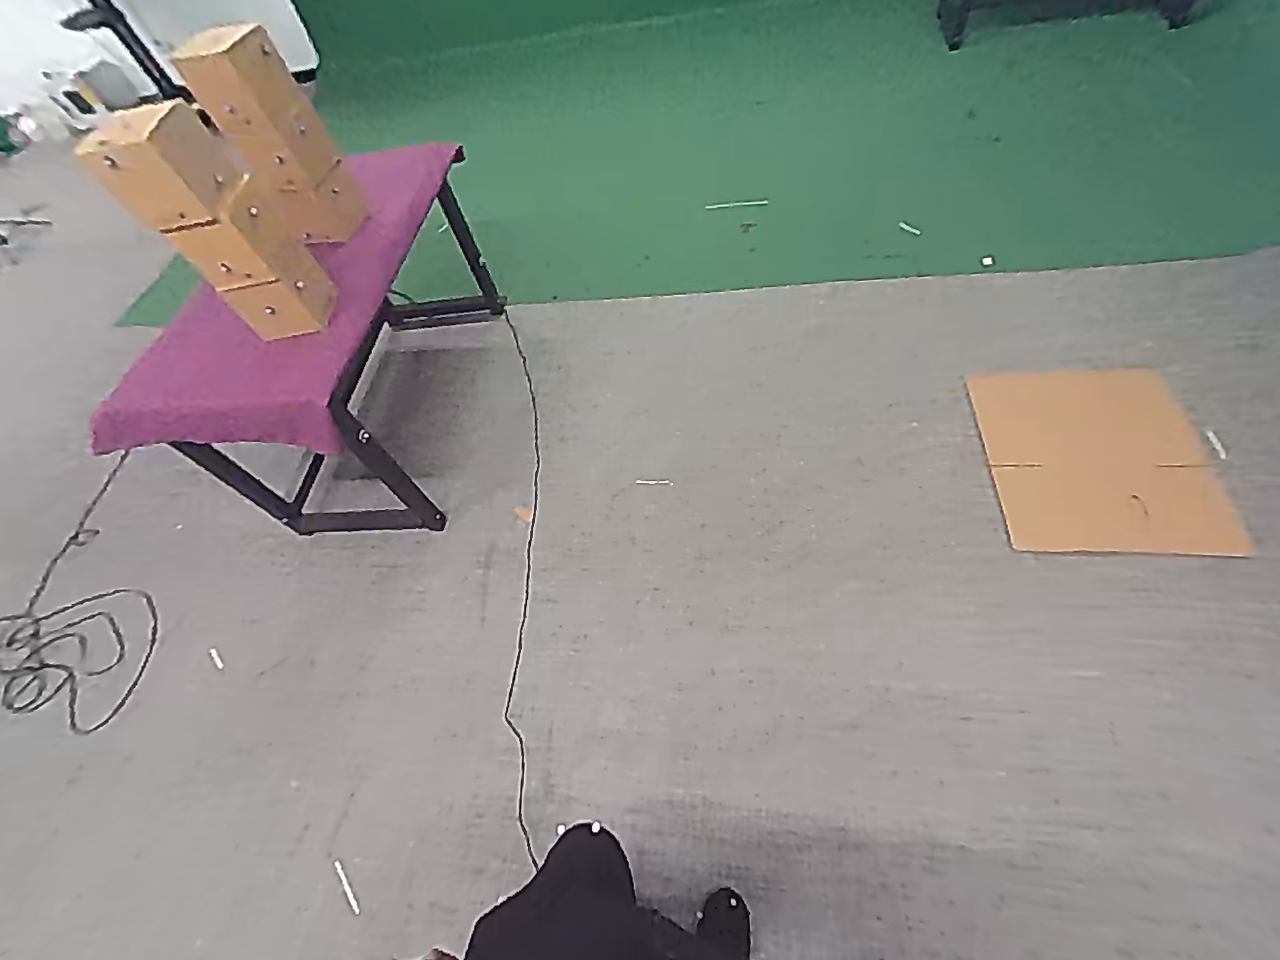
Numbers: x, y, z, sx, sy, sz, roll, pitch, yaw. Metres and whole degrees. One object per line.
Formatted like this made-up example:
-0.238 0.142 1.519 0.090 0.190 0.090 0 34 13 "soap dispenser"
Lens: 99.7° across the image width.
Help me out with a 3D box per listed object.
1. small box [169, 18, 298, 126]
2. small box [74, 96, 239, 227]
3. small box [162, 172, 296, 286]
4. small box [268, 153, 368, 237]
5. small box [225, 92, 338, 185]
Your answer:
-1.023 -1.040 1.383 0.168 0.176 0.179 4 59 12 "small box"
-1.003 -0.669 1.144 0.168 0.176 0.179 -7 57 7 "small box"
-0.961 -0.592 1.284 0.168 0.176 0.179 -8 58 6 "small box"
-0.975 -0.868 1.657 0.168 0.176 0.179 5 58 13 "small box"
-0.995 -0.953 1.520 0.168 0.176 0.179 5 59 12 "small box"
